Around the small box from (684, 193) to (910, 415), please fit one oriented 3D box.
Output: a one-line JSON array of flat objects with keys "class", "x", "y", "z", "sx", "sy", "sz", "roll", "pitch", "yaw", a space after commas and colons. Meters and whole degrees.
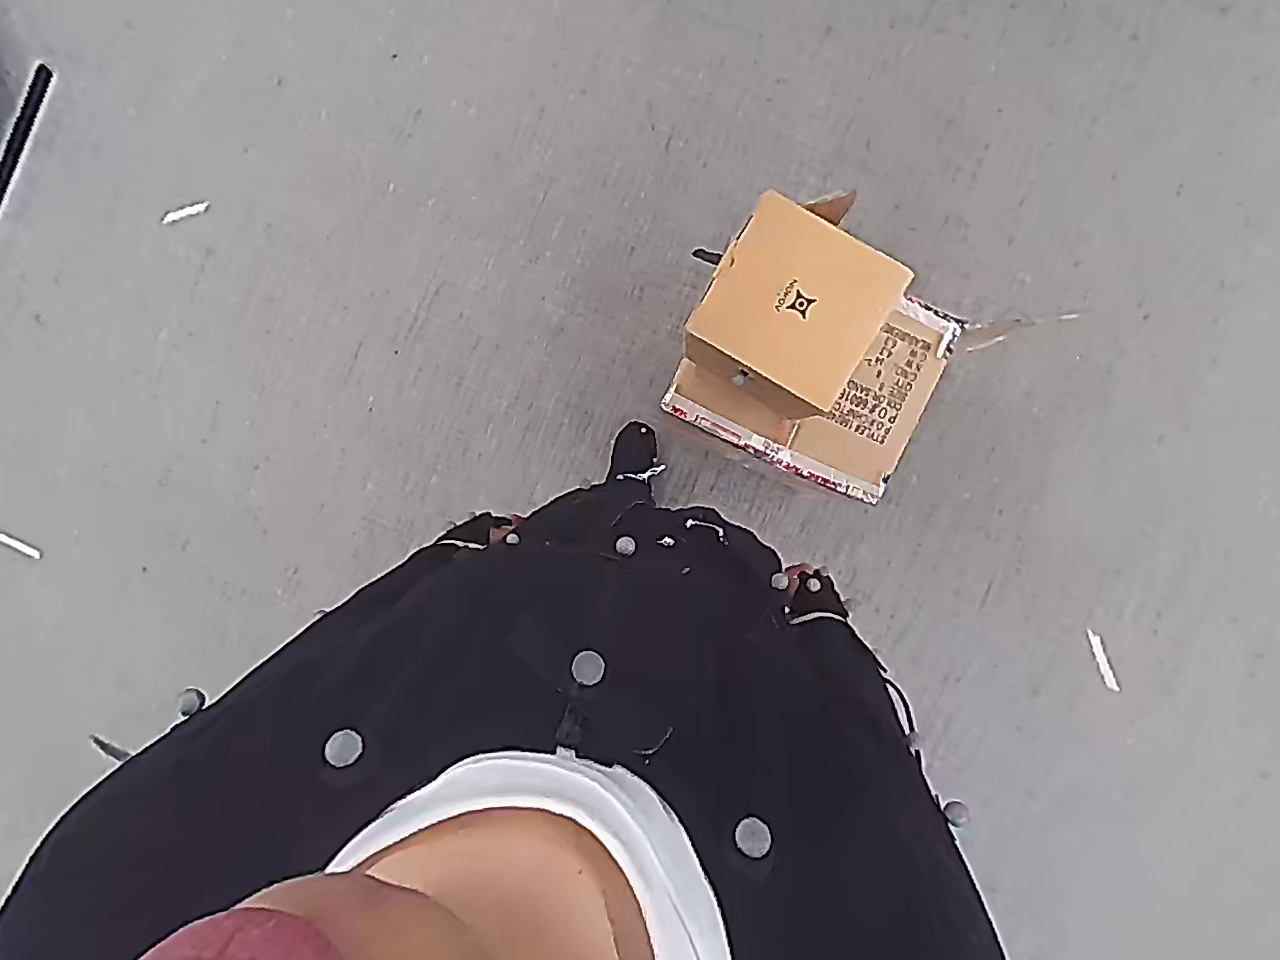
[{"class": "small box", "x": 0.167, "y": -0.188, "z": 0.636, "sx": 0.179, "sy": 0.176, "sz": 0.168, "roll": 32, "pitch": 95, "yaw": 3}]
